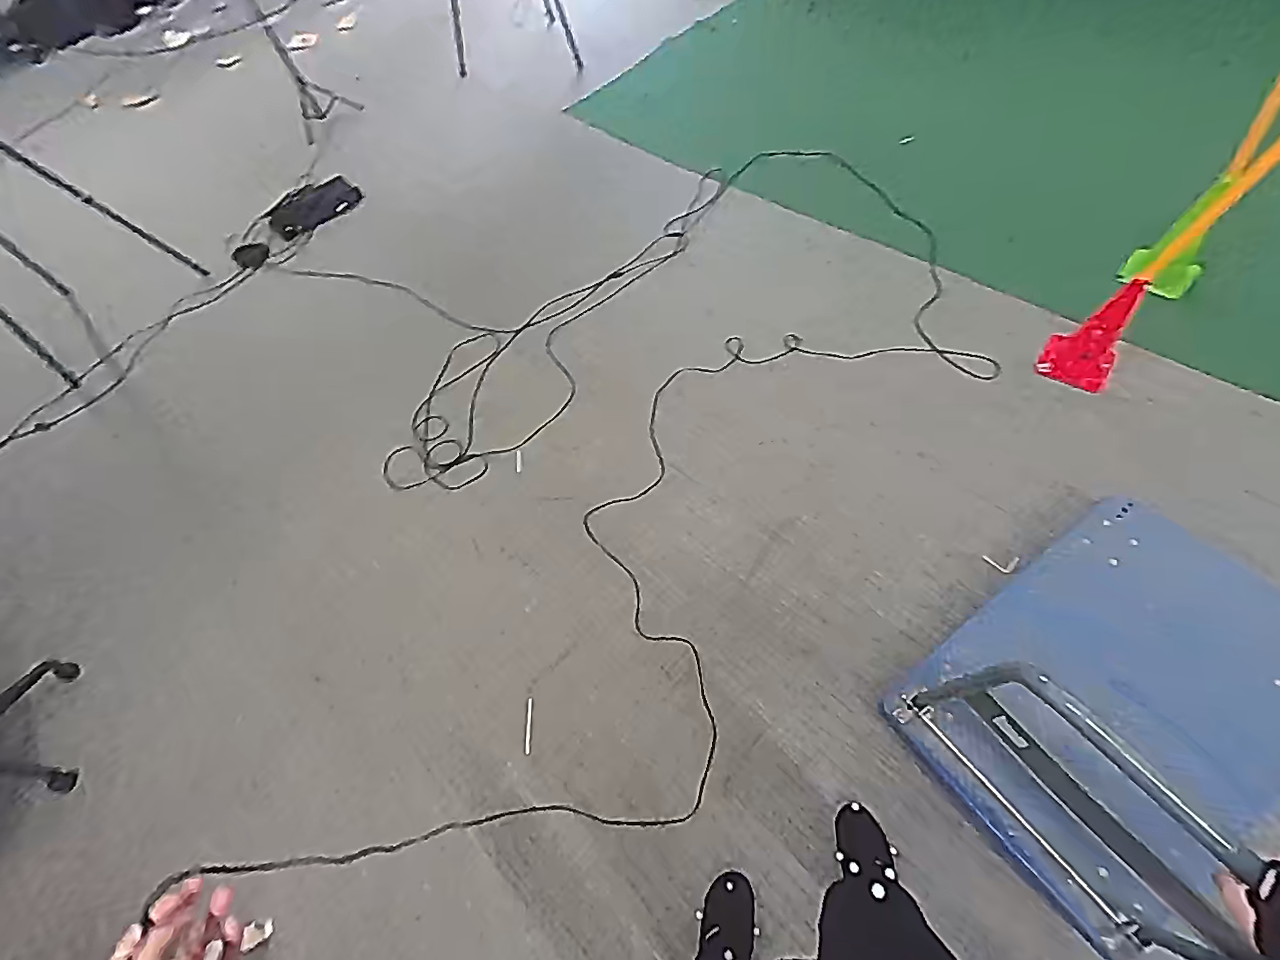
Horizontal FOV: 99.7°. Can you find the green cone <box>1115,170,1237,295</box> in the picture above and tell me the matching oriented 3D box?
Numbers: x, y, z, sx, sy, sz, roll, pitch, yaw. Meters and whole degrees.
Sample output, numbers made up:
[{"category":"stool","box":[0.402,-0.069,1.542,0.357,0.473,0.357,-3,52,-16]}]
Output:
[{"category":"green cone","box":[1.820,-0.834,1.792,0.200,0.368,0.202,37,71,27]}]
